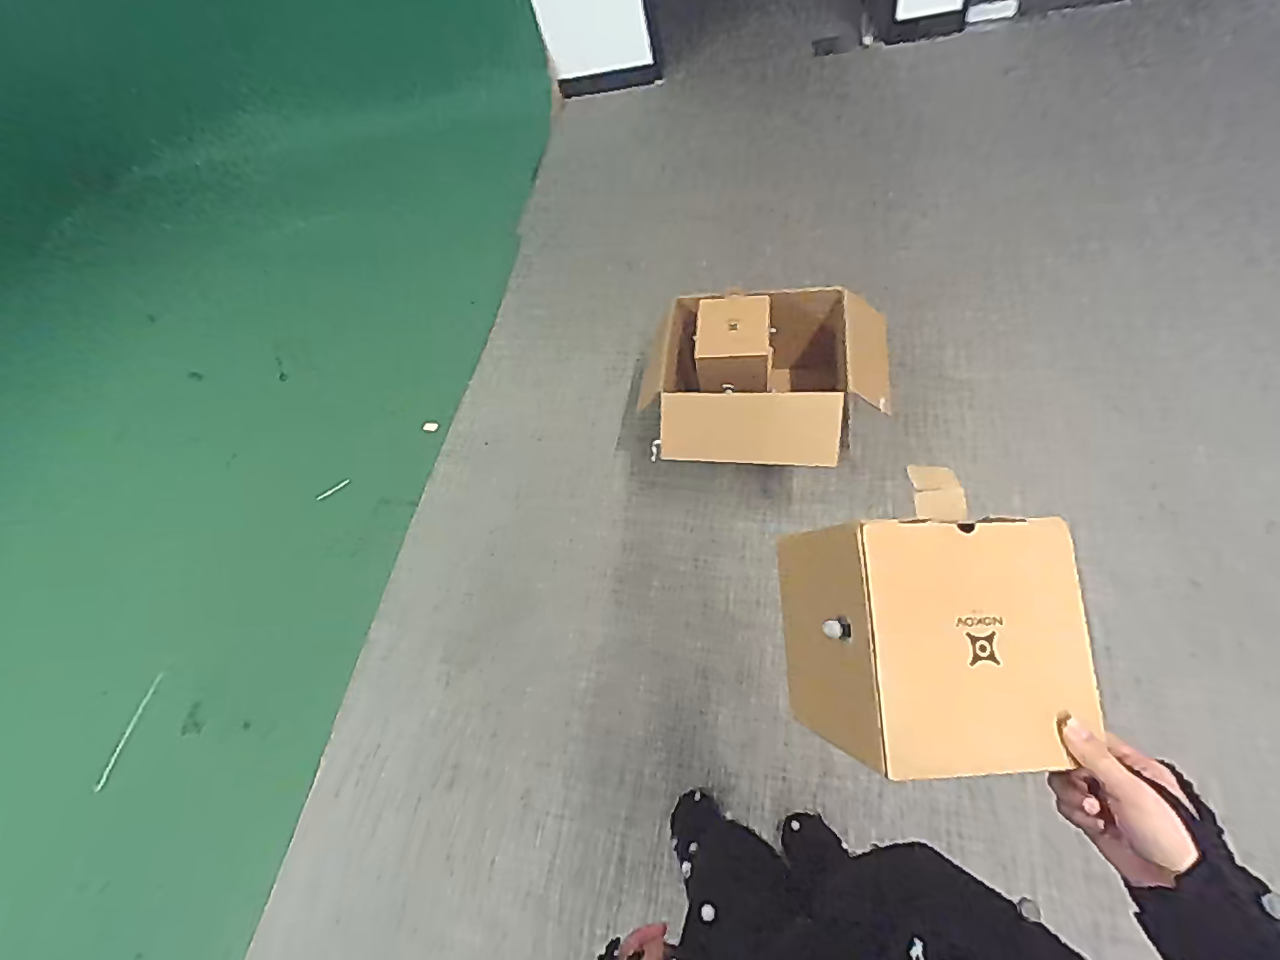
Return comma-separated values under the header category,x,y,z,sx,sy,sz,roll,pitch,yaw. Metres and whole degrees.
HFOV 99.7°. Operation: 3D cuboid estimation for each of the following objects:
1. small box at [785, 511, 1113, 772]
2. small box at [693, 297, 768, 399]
category,x,y,z,sx,sy,sz,roll,pitch,yaw
small box,0.233,0.123,0.456,0.168,0.176,0.179,0,78,-6
small box,0.223,-0.316,1.312,0.168,0.176,0.179,1,65,13
